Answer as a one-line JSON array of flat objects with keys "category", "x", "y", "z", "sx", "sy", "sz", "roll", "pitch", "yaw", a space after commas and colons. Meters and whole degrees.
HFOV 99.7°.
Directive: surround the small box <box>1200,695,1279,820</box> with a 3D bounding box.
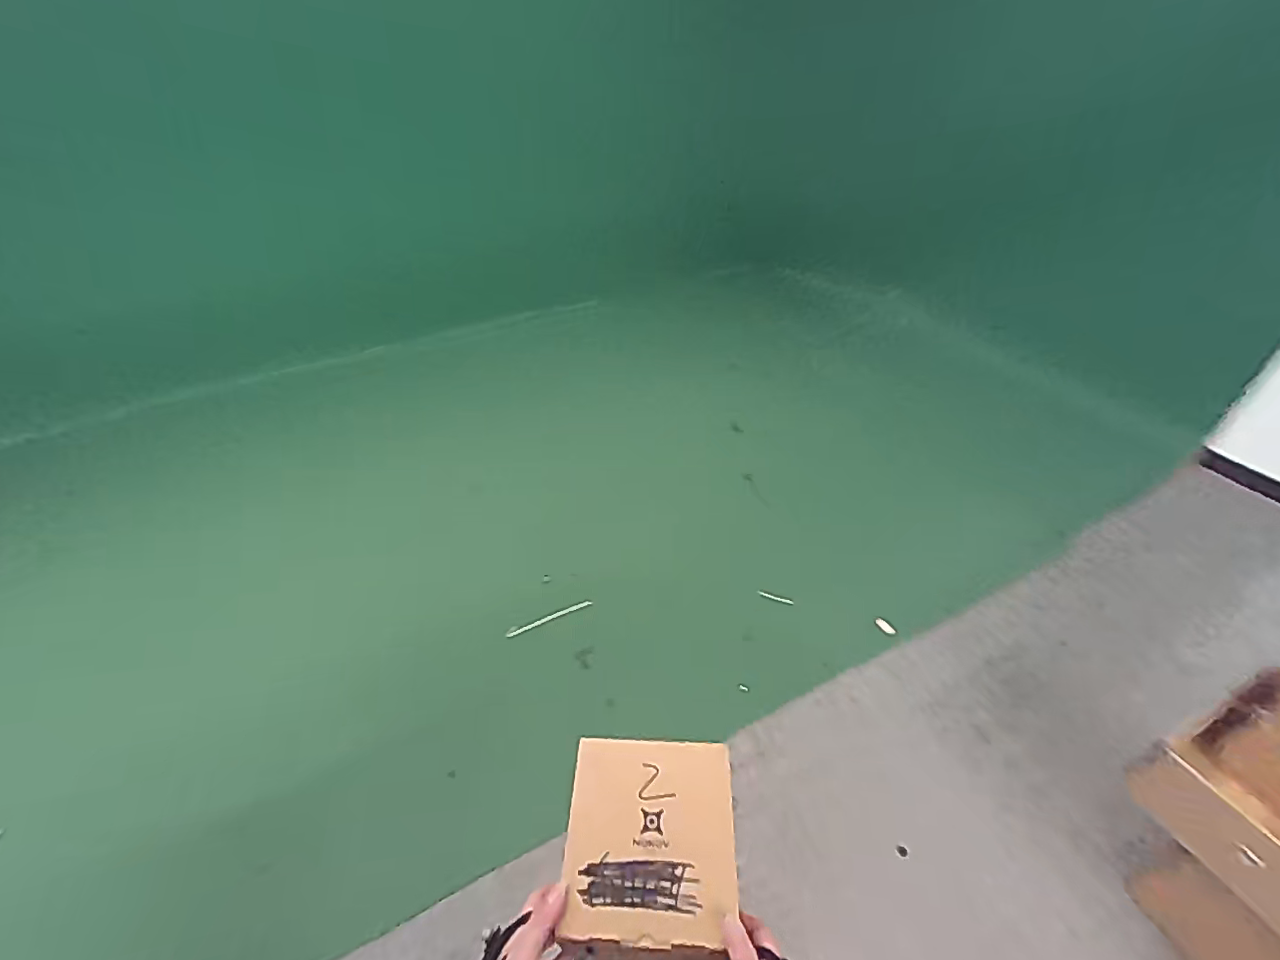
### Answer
[{"category": "small box", "x": 1.287, "y": 0.533, "z": 1.067, "sx": 0.179, "sy": 0.176, "sz": 0.168, "roll": -18, "pitch": 45, "yaw": -17}]
